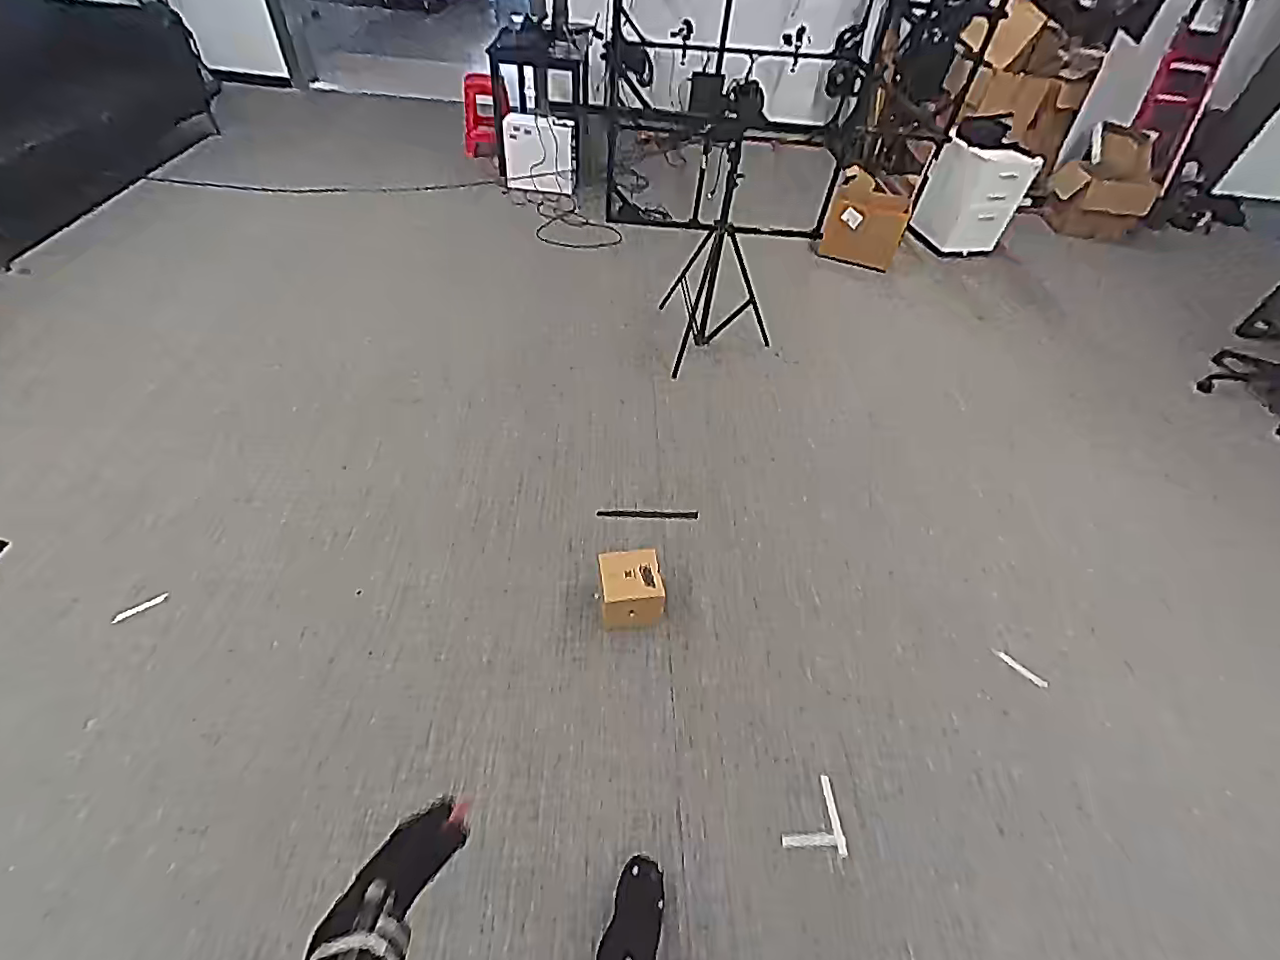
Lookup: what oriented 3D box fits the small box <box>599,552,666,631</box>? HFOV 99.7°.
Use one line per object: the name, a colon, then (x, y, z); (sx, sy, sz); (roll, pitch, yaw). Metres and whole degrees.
small box: (-0.029, 0.338, 1.626); (0.179, 0.176, 0.168); (-4, 48, -9)
